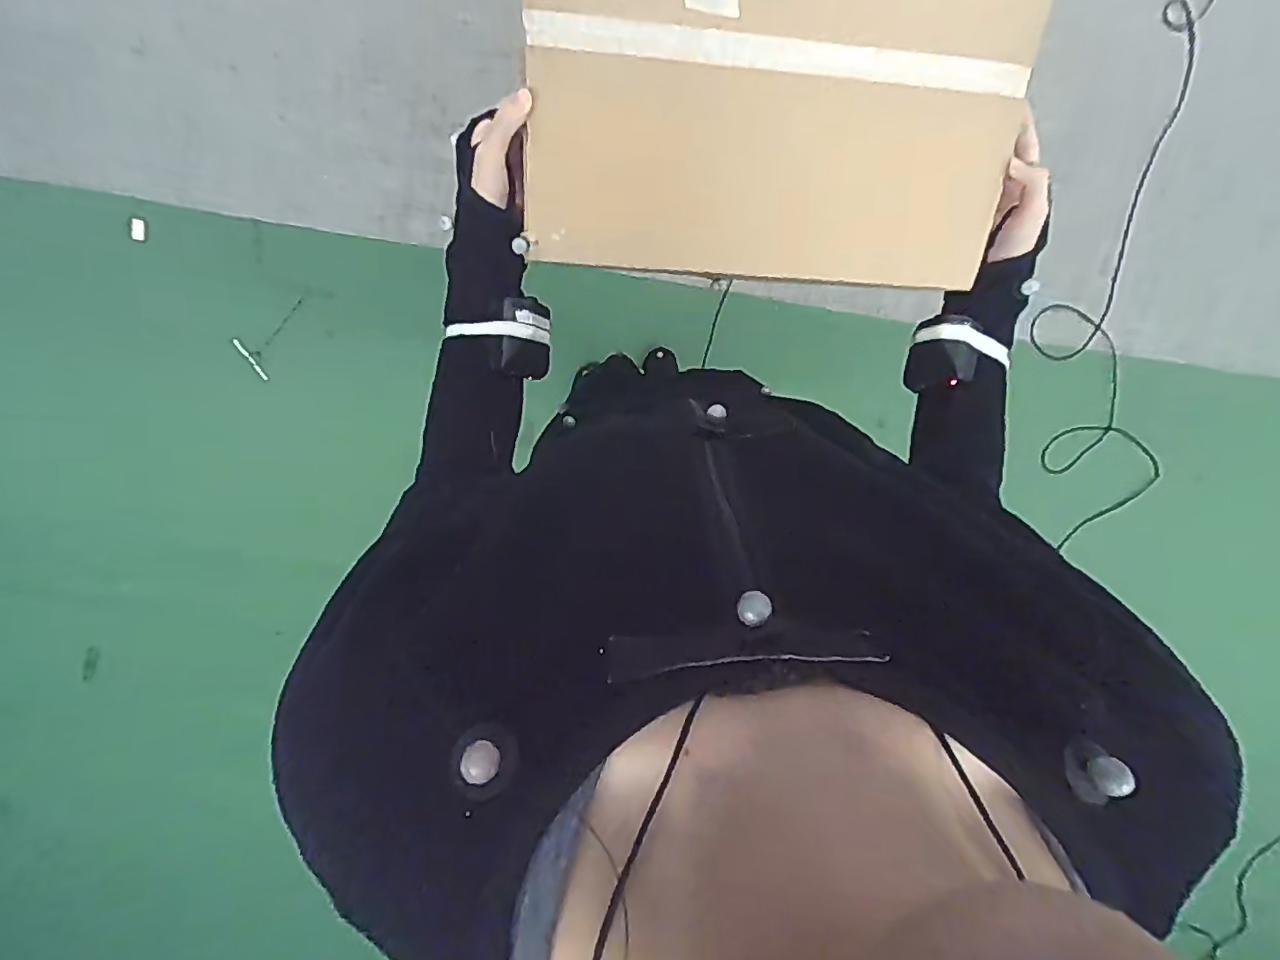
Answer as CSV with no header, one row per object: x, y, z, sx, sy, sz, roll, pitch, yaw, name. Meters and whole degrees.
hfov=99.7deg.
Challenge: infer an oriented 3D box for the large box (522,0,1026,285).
0.096,-0.385,0.573,0.408,0.320,0.320,1,110,-6,large box
